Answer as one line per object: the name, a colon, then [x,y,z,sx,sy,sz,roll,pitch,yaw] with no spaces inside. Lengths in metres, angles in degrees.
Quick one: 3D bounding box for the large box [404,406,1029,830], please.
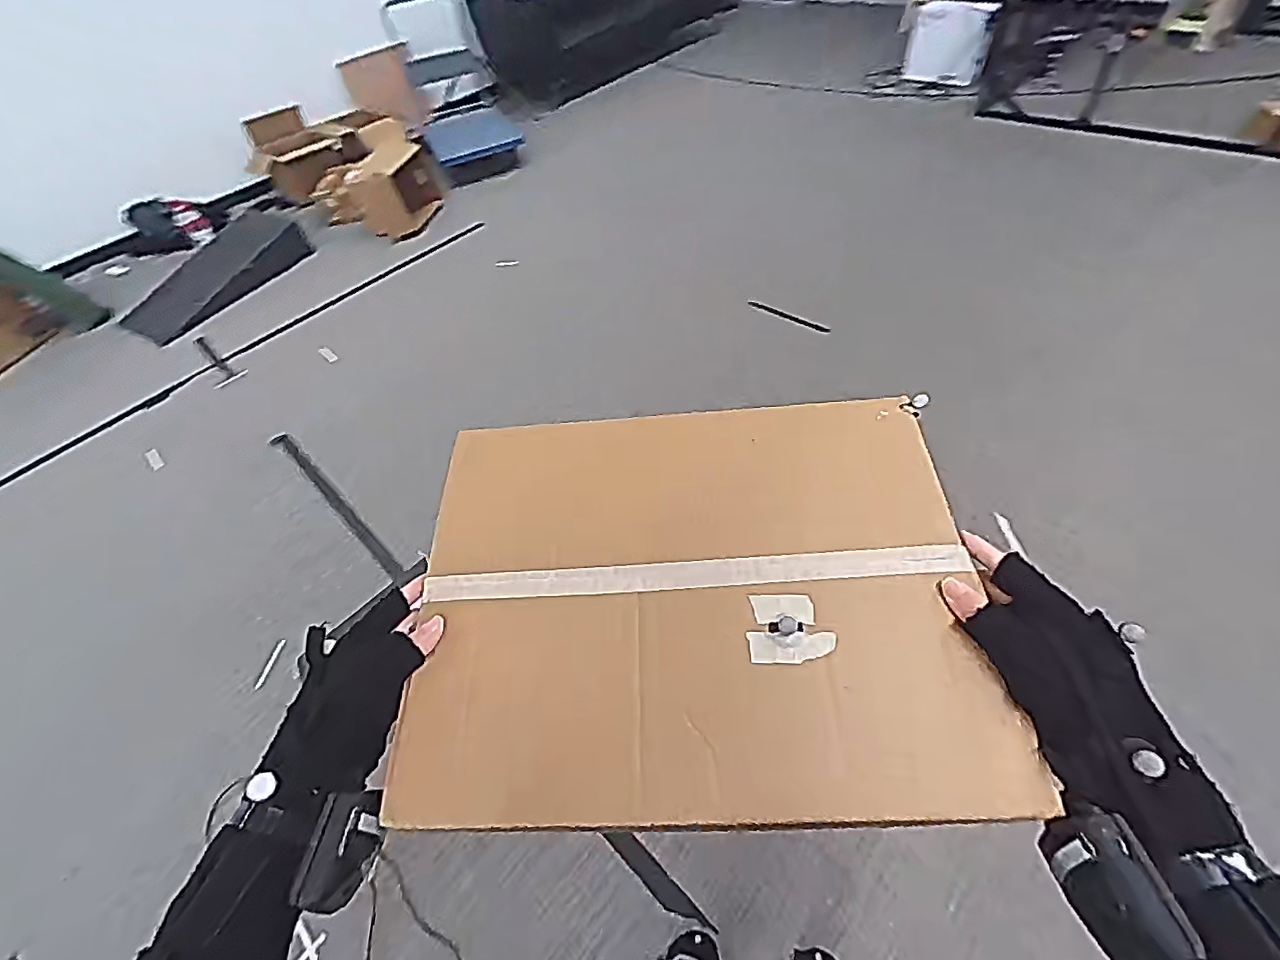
large box: [0.049,0.157,0.544,0.408,0.320,0.320,-4,57,3]
